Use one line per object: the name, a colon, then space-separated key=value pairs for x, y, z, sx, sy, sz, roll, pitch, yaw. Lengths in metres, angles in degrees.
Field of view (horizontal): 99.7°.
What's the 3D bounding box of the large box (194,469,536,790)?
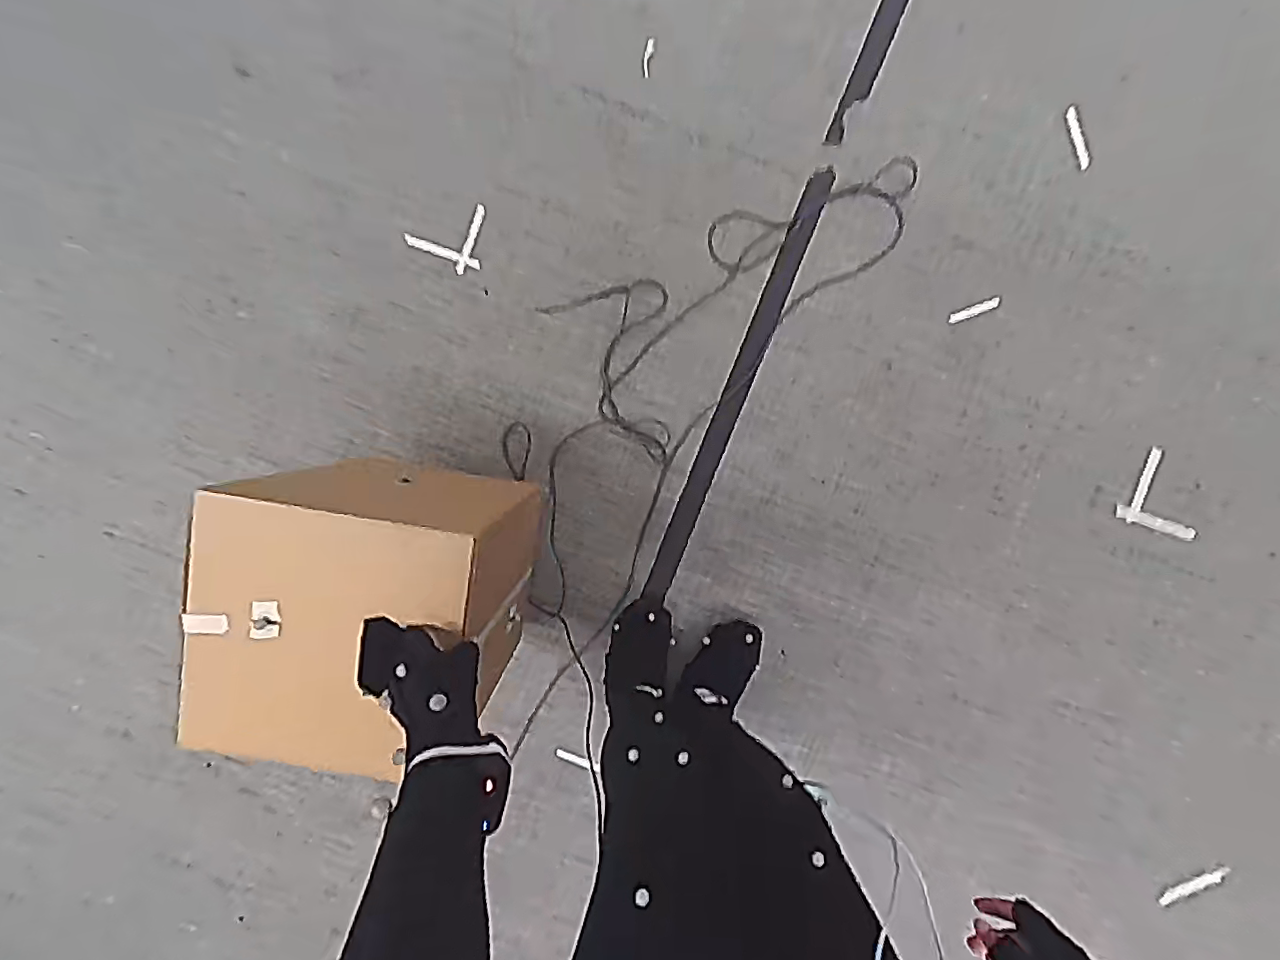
large box: x=-0.364 y=0.177 z=0.817 sx=0.320 sy=0.408 sz=0.320 roll=10 pitch=98 yaw=-1
